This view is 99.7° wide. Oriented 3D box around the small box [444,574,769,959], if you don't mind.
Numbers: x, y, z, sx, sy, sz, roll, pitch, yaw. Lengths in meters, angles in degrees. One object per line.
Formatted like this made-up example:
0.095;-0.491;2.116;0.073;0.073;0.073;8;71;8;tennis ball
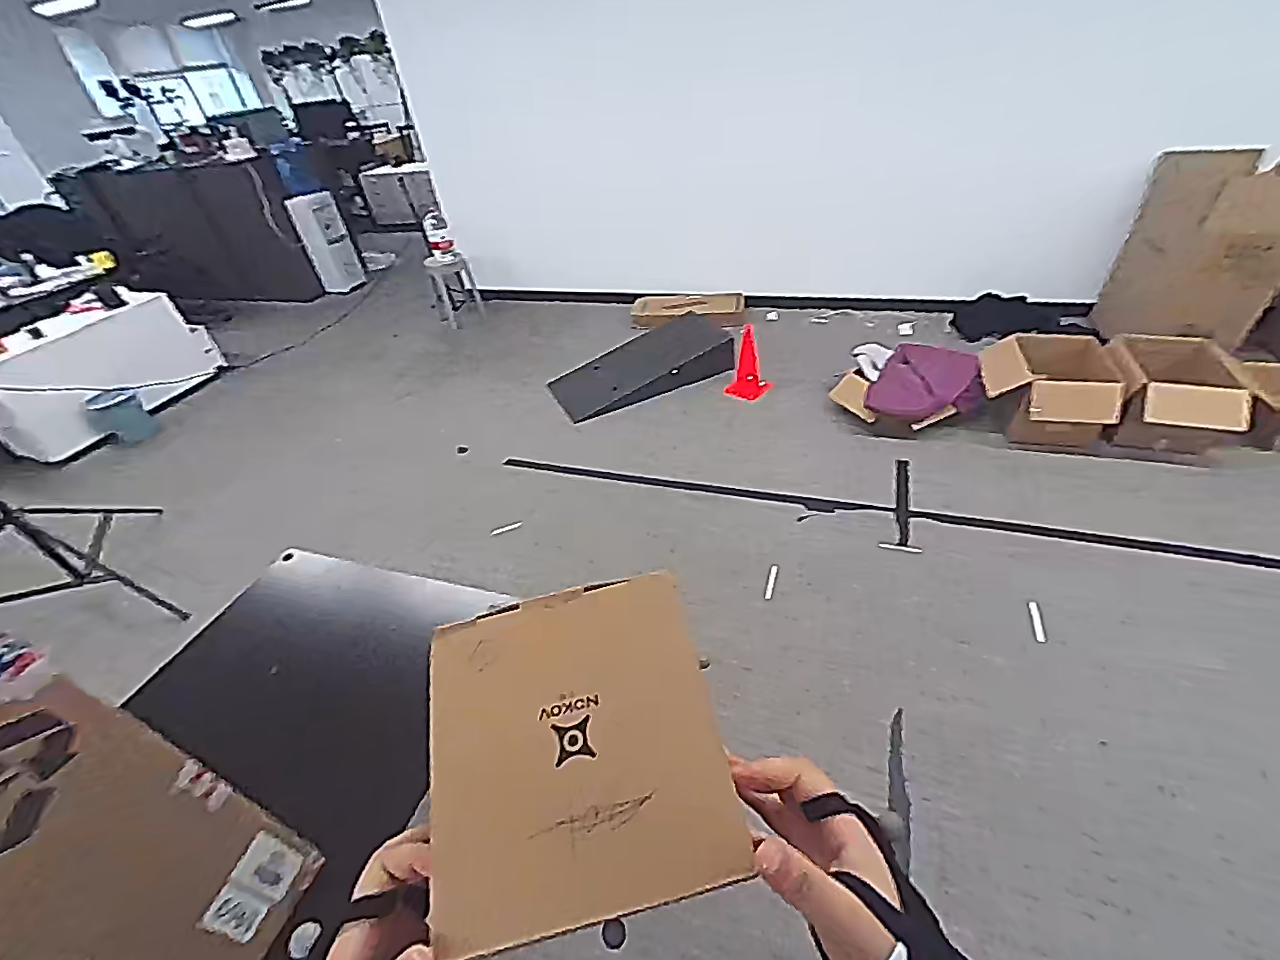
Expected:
-0.025;0.194;0.378;0.168;0.176;0.179;-14;55;-3;small box
